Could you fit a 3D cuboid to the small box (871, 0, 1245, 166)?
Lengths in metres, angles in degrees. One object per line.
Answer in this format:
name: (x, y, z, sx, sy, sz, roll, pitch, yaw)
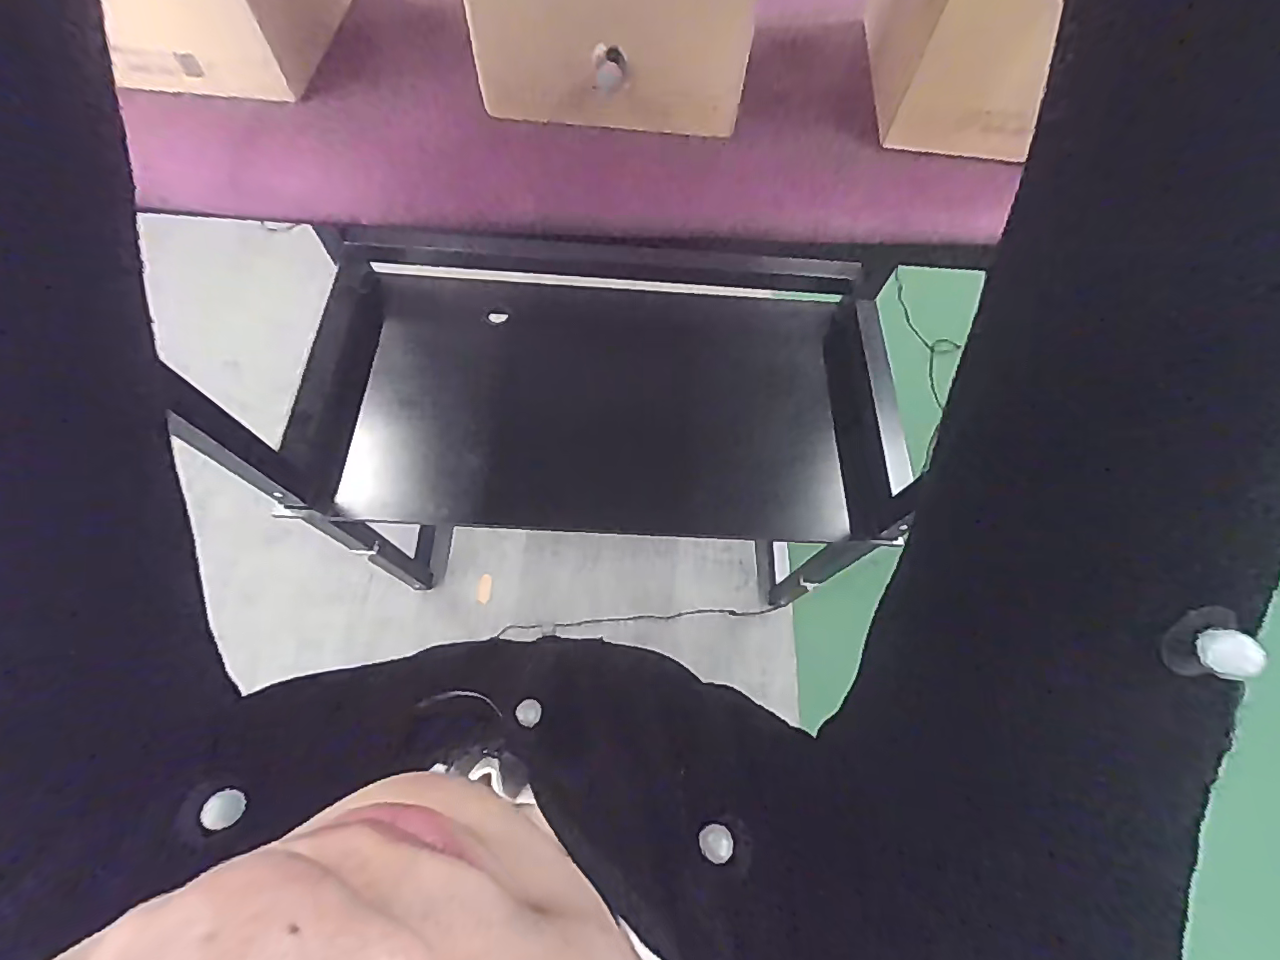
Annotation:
small box: (0.268, -0.337, 0.348, 0.168, 0.176, 0.179, 7, 65, 0)
